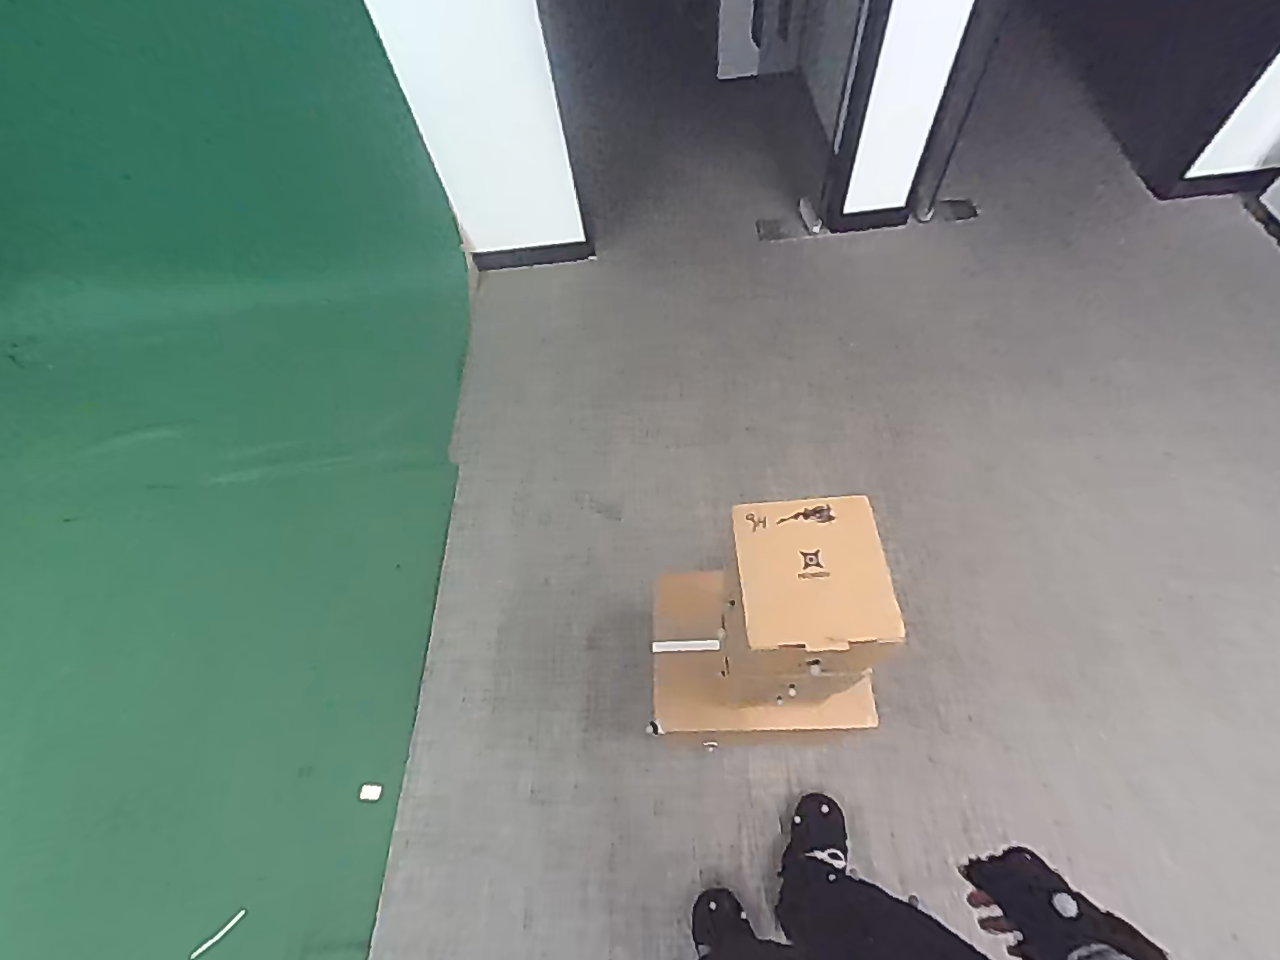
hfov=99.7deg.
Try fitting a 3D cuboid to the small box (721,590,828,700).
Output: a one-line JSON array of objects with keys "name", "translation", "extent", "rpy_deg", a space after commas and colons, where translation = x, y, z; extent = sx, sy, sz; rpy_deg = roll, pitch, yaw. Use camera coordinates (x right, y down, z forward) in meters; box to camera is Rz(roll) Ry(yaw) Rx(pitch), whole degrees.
[{"name": "small box", "translation": [0.239, 0.294, 0.966], "extent": [0.179, 0.176, 0.168], "rpy_deg": [-4, 61, 4]}]

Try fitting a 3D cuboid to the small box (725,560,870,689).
[{"name": "small box", "translation": [0.224, 0.218, 0.821], "extent": [0.179, 0.176, 0.168], "rpy_deg": [-5, 61, 6]}]

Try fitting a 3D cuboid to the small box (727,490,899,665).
[{"name": "small box", "translation": [0.202, 0.132, 0.683], "extent": [0.168, 0.176, 0.179], "rpy_deg": [-6, 61, 6]}]
